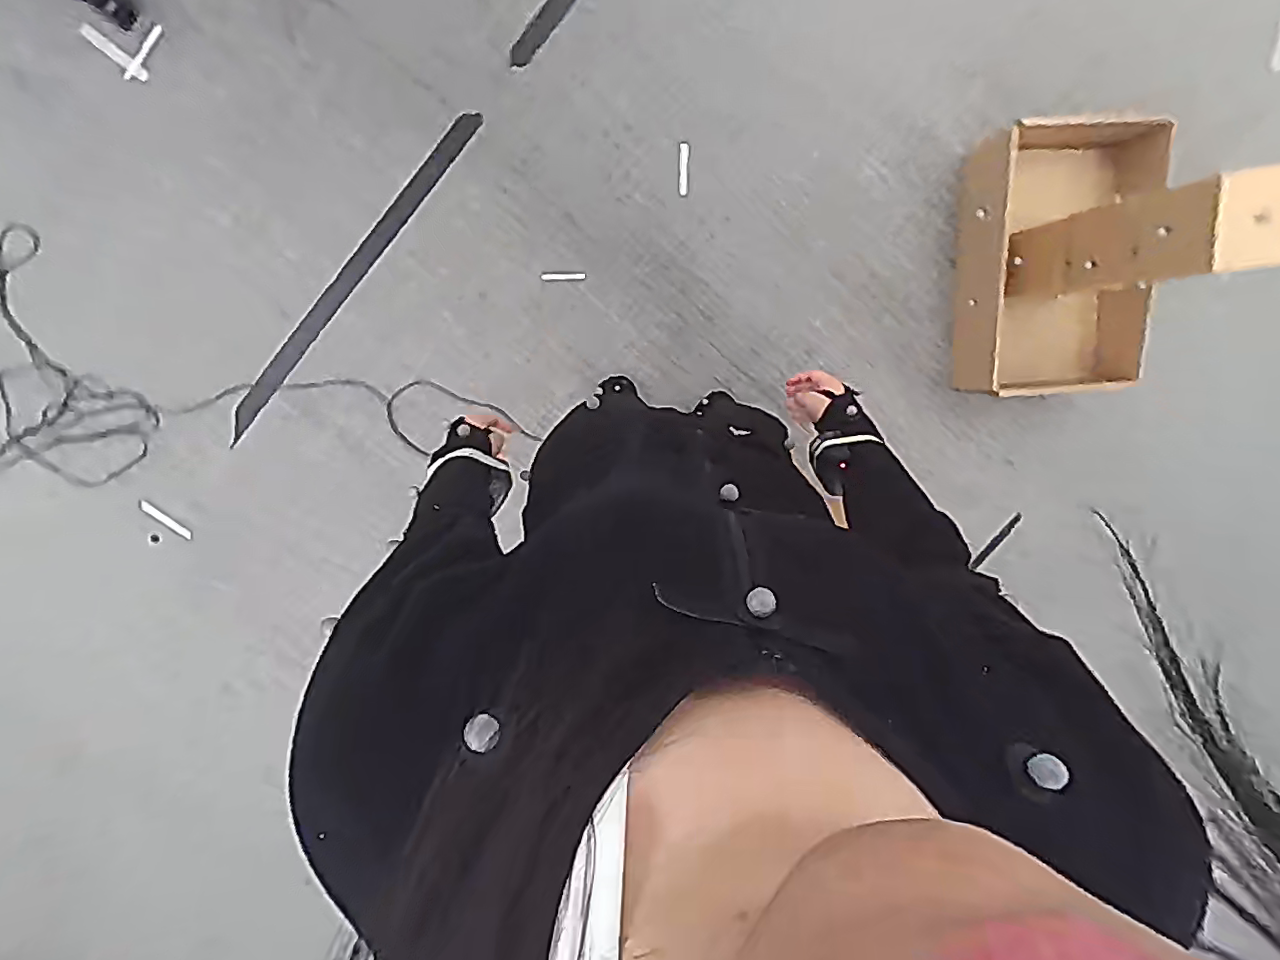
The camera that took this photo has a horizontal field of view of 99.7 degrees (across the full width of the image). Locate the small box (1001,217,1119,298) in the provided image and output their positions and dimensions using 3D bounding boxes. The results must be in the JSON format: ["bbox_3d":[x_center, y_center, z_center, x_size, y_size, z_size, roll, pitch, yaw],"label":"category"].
[{"bbox_3d":[1.049,-0.550,1.346,0.179,0.176,0.168,-4,103,-4],"label":"small box"}]

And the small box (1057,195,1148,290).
[{"bbox_3d":[1.064,-0.519,1.188,0.179,0.176,0.168,-9,105,-4],"label":"small box"}]

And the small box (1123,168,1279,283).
[{"bbox_3d":[1.078,-0.476,1.028,0.179,0.176,0.168,-9,105,-3],"label":"small box"}]
